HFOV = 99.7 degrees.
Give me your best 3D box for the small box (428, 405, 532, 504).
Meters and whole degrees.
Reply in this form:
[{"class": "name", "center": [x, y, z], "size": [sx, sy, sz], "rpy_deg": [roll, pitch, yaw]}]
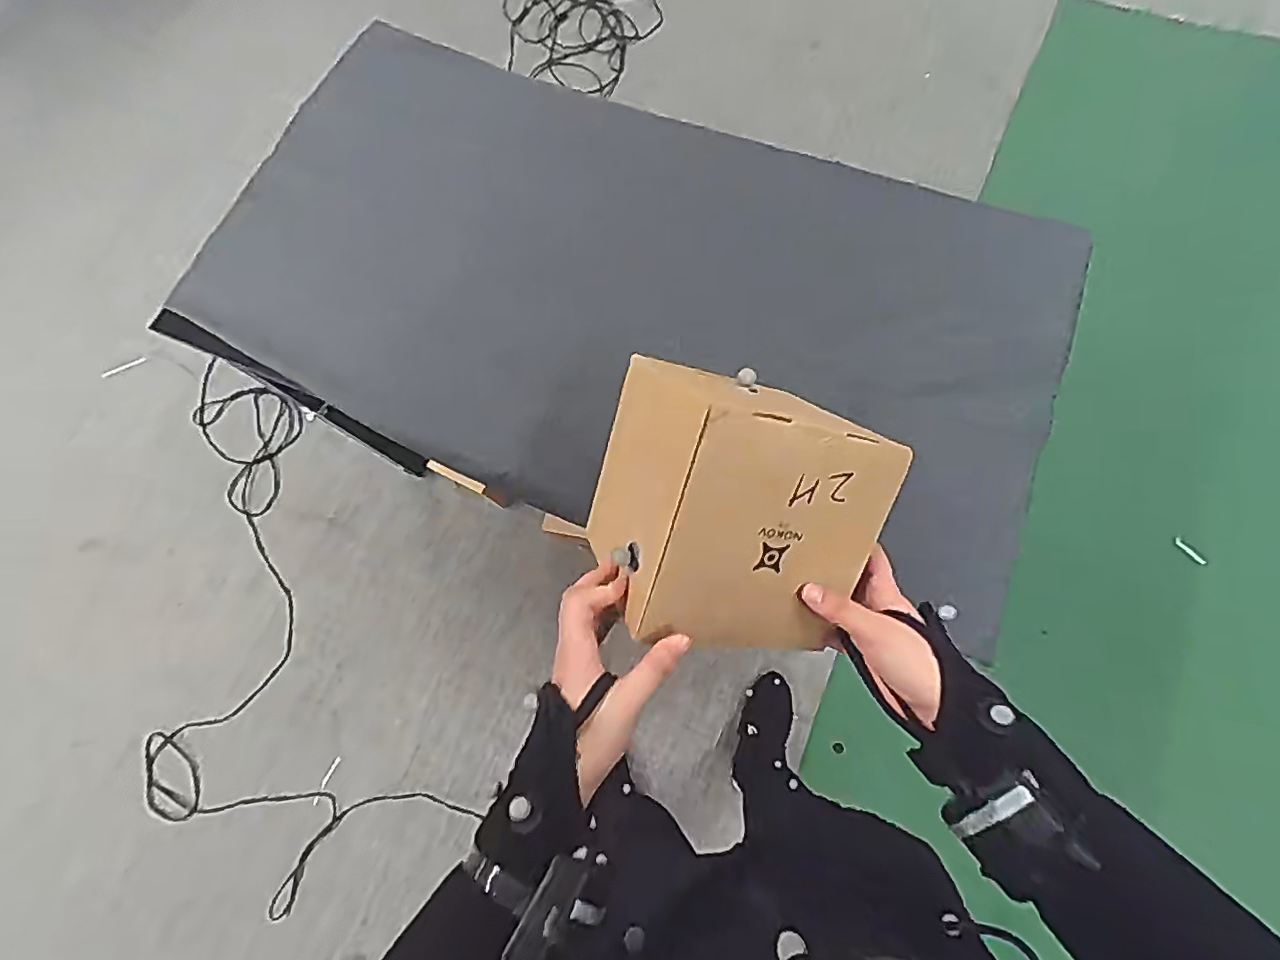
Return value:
[{"class": "small box", "center": [-0.402, -0.059, 1.397], "size": [0.168, 0.176, 0.179], "rpy_deg": [25, 77, 11]}]
